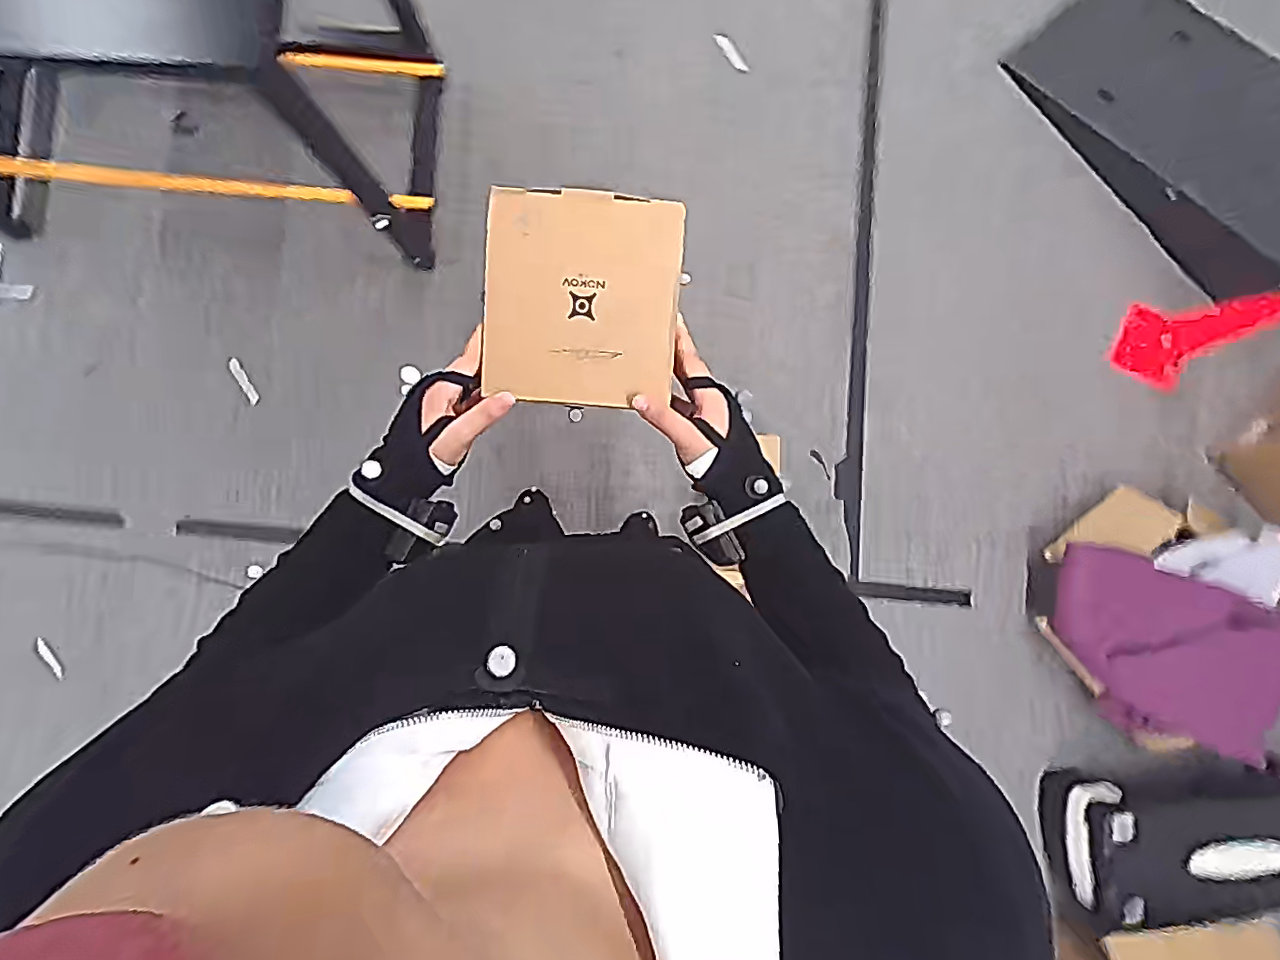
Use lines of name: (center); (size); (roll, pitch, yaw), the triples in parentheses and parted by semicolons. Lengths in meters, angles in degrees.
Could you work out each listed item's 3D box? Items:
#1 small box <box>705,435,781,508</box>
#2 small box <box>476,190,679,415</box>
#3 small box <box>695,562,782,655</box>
small box: (0.266, -0.019, 1.431); (0.168, 0.176, 0.179); (3, 87, -1)
small box: (-0.057, -0.158, 0.537); (0.168, 0.176, 0.179); (3, 97, -2)
small box: (0.222, 0.290, 1.253); (0.168, 0.176, 0.179); (4, 88, -1)
